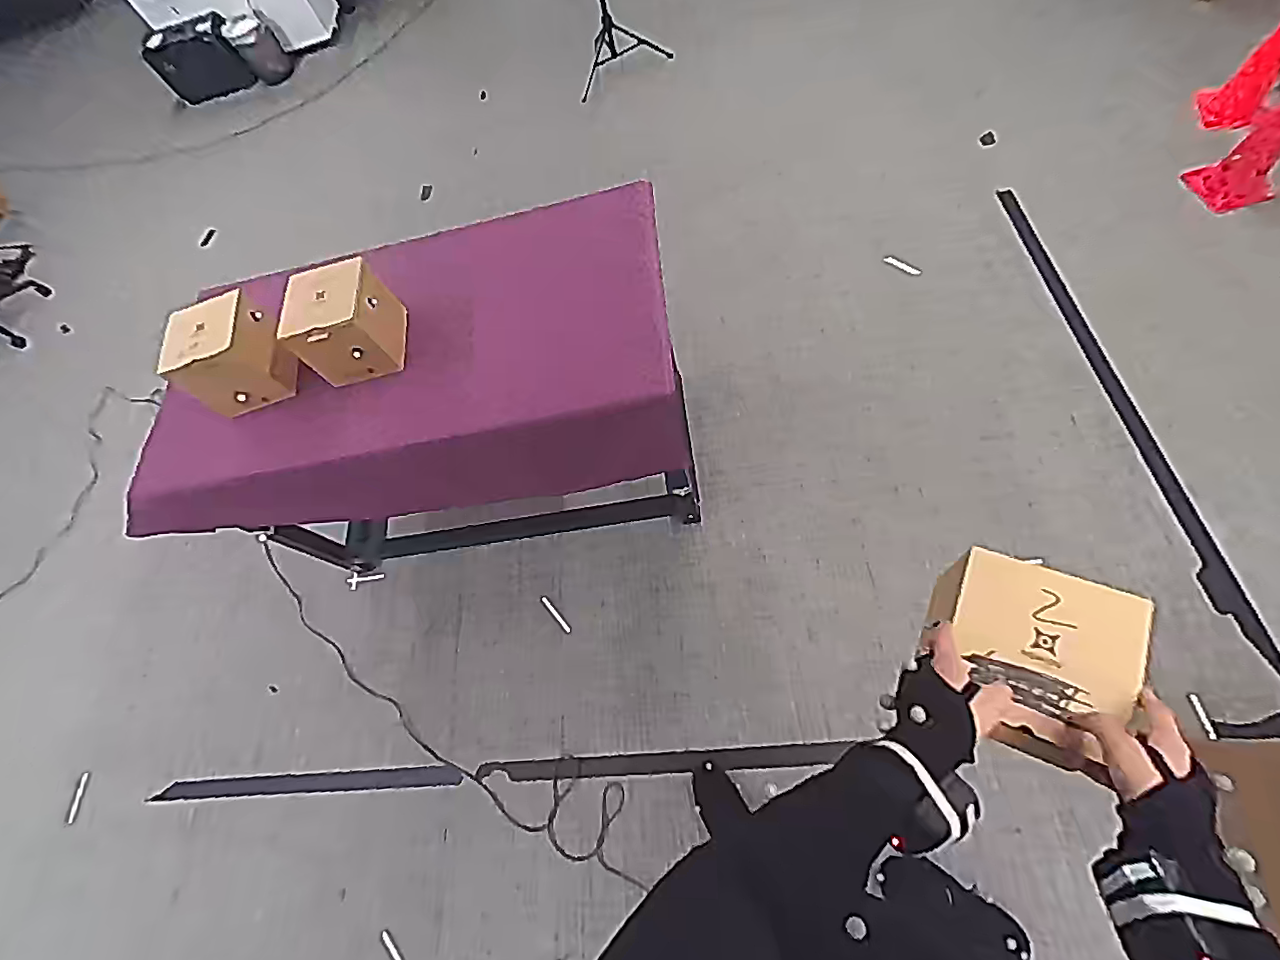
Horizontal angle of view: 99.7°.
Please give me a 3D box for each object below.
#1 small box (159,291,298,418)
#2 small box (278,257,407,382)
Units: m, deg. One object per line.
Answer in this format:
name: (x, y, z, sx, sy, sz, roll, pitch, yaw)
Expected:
small box: (-0.874, -0.266, 1.169, 0.168, 0.176, 0.179, -18, 63, 5)
small box: (-0.613, -0.326, 1.137, 0.168, 0.176, 0.179, -12, 63, 7)
